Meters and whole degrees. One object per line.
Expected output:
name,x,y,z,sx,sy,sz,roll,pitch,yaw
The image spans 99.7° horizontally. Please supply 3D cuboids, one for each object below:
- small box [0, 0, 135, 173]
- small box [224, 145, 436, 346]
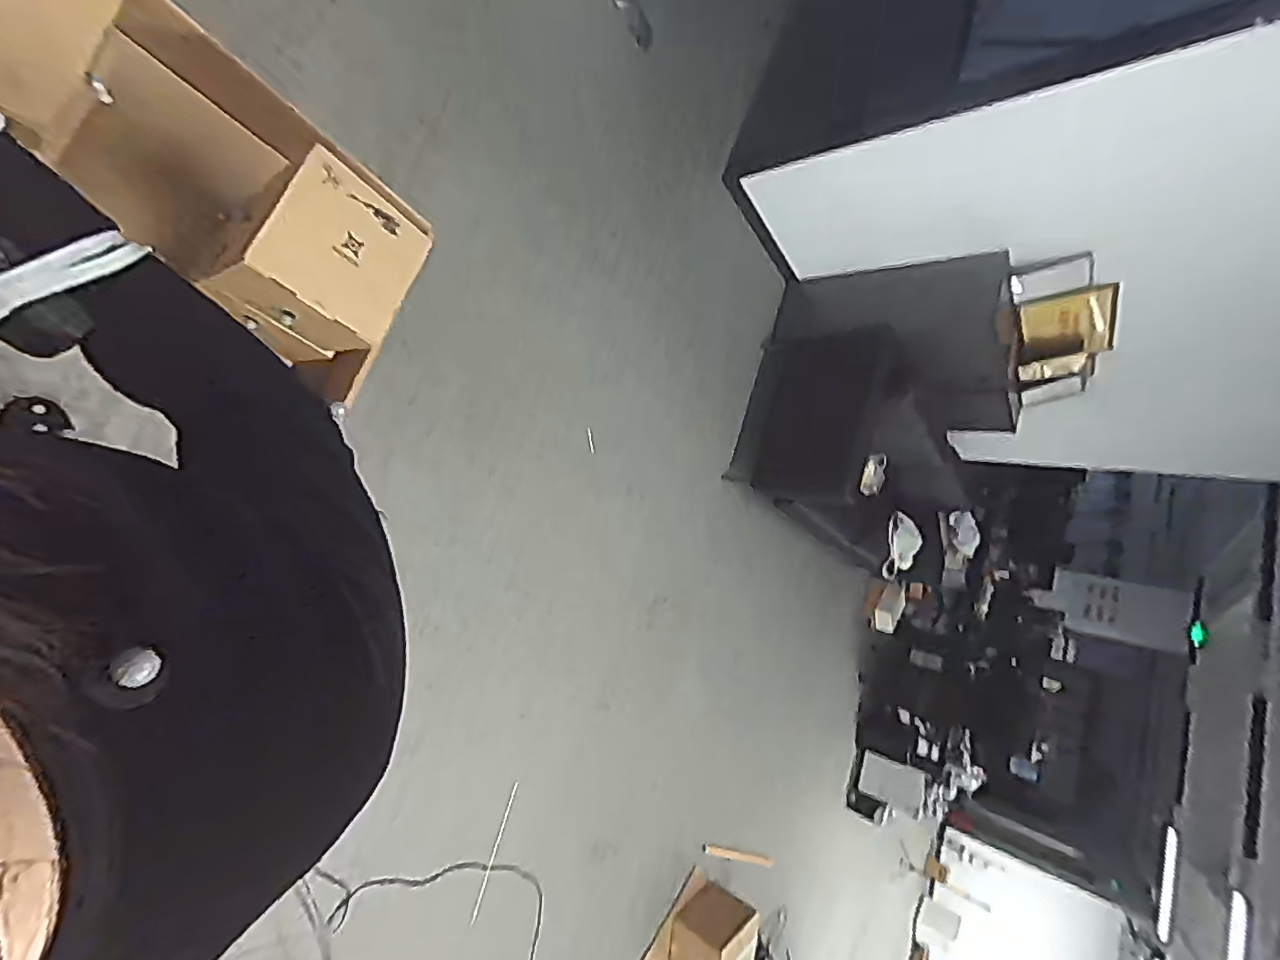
small box,-0.603,-0.417,0.486,0.168,0.176,0.179,28,75,-49
small box,-0.416,-0.295,0.723,0.168,0.176,0.179,37,70,-47
